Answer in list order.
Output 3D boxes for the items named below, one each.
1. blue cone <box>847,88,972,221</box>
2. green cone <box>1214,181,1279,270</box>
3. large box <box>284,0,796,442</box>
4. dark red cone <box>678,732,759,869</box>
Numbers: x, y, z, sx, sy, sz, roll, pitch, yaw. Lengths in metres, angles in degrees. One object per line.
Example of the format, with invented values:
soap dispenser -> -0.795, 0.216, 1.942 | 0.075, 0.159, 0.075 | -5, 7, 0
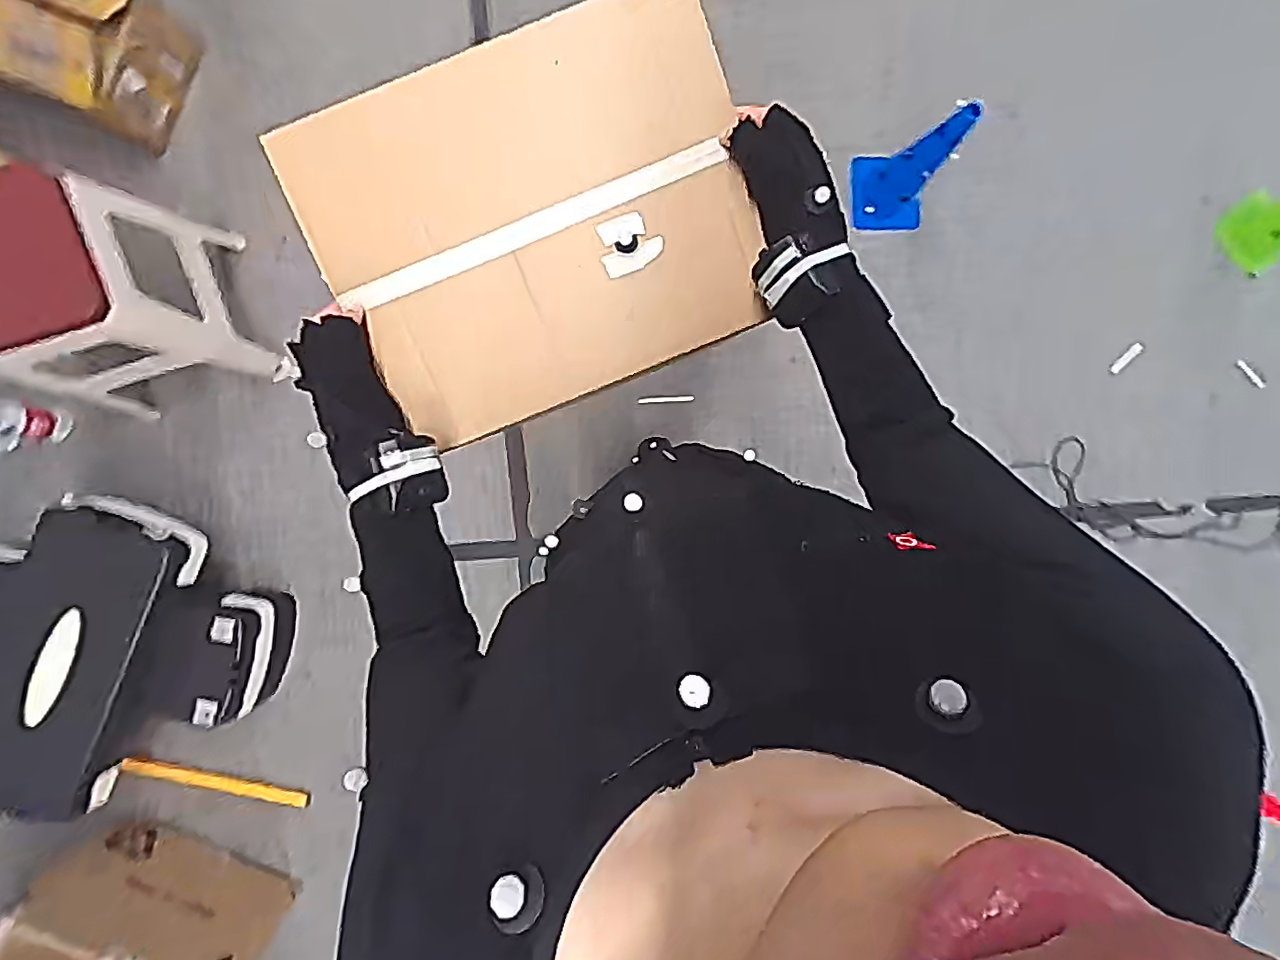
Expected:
blue cone -> 0.683, -0.813, 1.339 | 0.193, 0.380, 0.192 | -1, 91, -4
green cone -> 1.810, -0.740, 1.406 | 0.200, 0.368, 0.202 | -42, 93, -3
large box -> -0.093, -0.267, 0.650 | 0.408, 0.320, 0.320 | -21, 99, 0
dark red cone -> 0.219, 0.792, 1.318 | 0.202, 0.394, 0.201 | 2, 91, -4
